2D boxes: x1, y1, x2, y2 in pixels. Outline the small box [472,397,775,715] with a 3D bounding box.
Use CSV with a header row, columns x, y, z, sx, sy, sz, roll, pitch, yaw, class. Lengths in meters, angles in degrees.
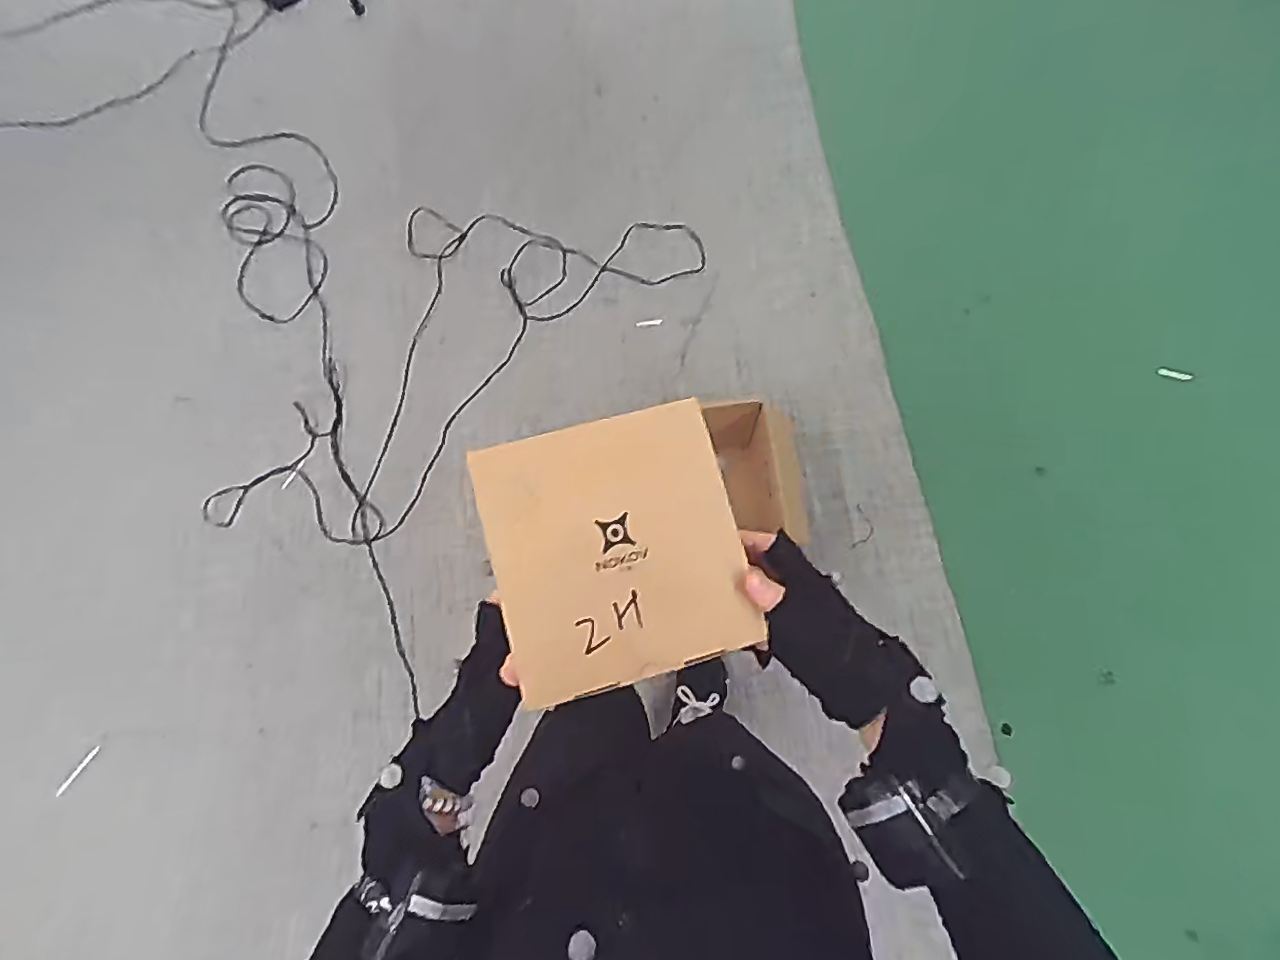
x,y,z,sx,sy,sz,roll,pitch,yaw,class
-0.019,0.056,0.428,0.168,0.176,0.179,-14,83,-6,small box
